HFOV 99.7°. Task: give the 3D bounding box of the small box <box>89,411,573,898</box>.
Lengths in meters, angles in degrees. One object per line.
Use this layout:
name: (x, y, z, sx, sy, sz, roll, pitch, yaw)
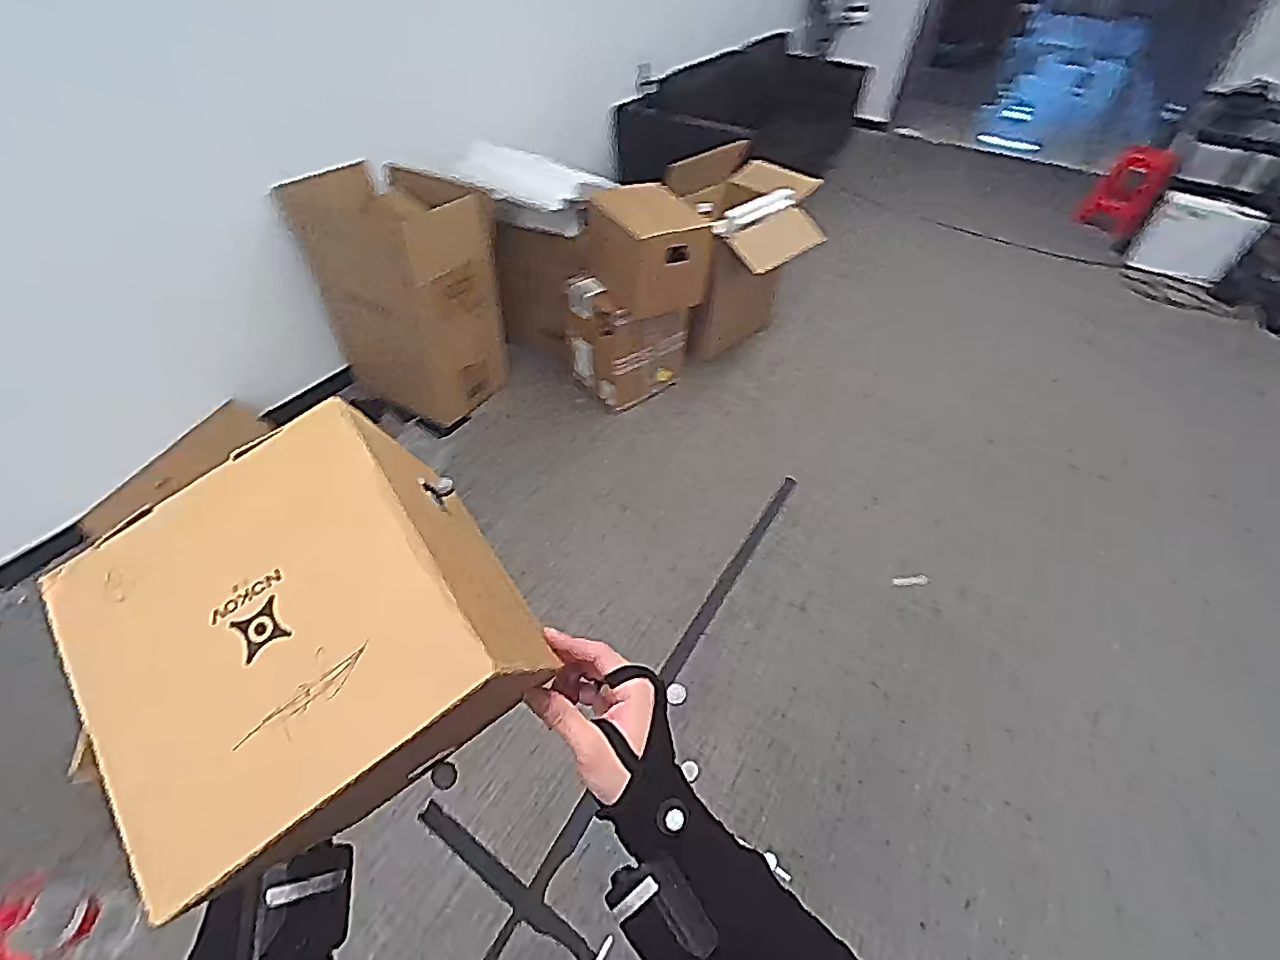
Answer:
small box: (-0.164, 0.095, 0.340, 0.168, 0.176, 0.179, -35, 74, -8)
